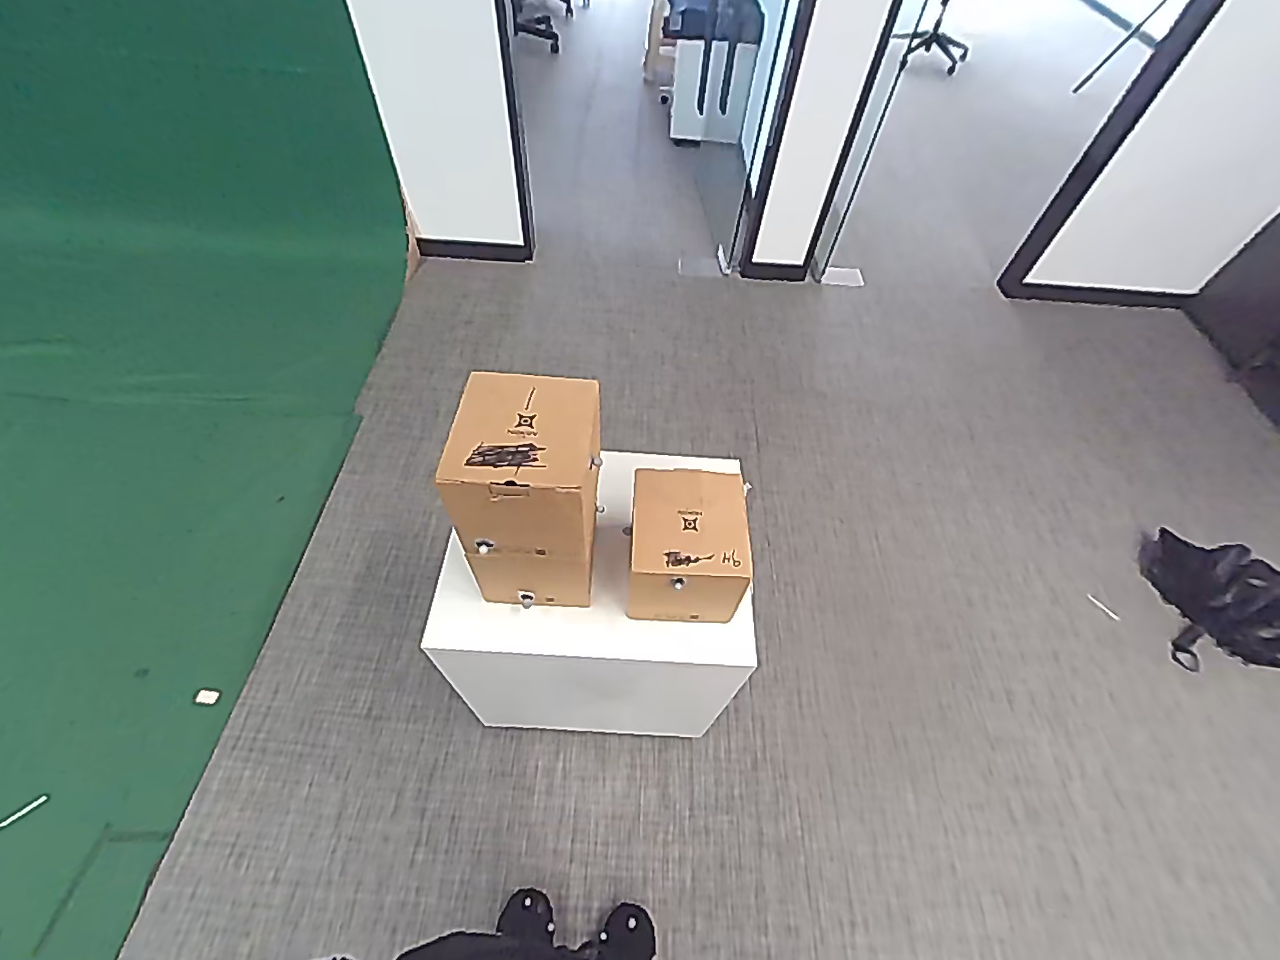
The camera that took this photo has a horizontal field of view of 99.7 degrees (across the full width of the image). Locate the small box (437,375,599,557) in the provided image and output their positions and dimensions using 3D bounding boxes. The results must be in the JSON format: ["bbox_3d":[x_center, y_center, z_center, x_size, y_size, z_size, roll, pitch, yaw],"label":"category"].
[{"bbox_3d":[-0.144,-0.013,0.713,0.168,0.176,0.179,5,52,0],"label":"small box"}]

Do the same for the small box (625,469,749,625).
[{"bbox_3d":[0.064,0.106,0.842,0.168,0.176,0.179,4,53,-2],"label":"small box"}]

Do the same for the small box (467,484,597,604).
[{"bbox_3d":[-0.153,0.074,0.832,0.168,0.176,0.179,2,55,-2],"label":"small box"}]
